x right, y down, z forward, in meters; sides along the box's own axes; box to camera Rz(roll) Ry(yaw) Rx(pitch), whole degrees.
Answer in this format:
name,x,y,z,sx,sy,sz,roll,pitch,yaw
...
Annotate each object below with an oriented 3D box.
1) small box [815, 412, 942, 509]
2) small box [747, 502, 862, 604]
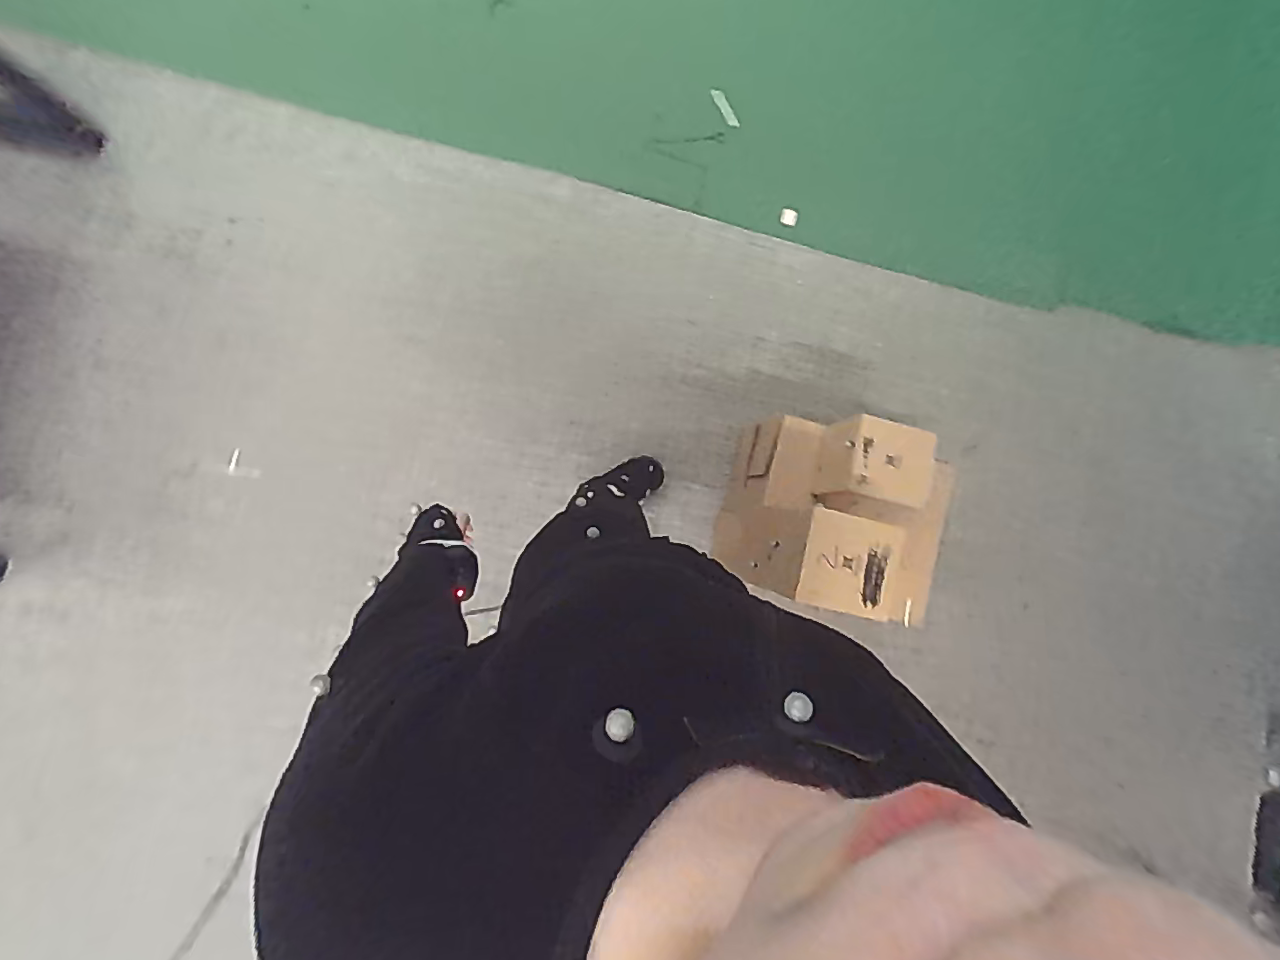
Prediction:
name,x,y,z,sx,sy,sz,roll,pitch,yaw
small box,0.516,-0.038,1.186,0.179,0.176,0.168,14,85,-8
small box,0.341,0.150,1.153,0.168,0.176,0.179,13,85,-7
